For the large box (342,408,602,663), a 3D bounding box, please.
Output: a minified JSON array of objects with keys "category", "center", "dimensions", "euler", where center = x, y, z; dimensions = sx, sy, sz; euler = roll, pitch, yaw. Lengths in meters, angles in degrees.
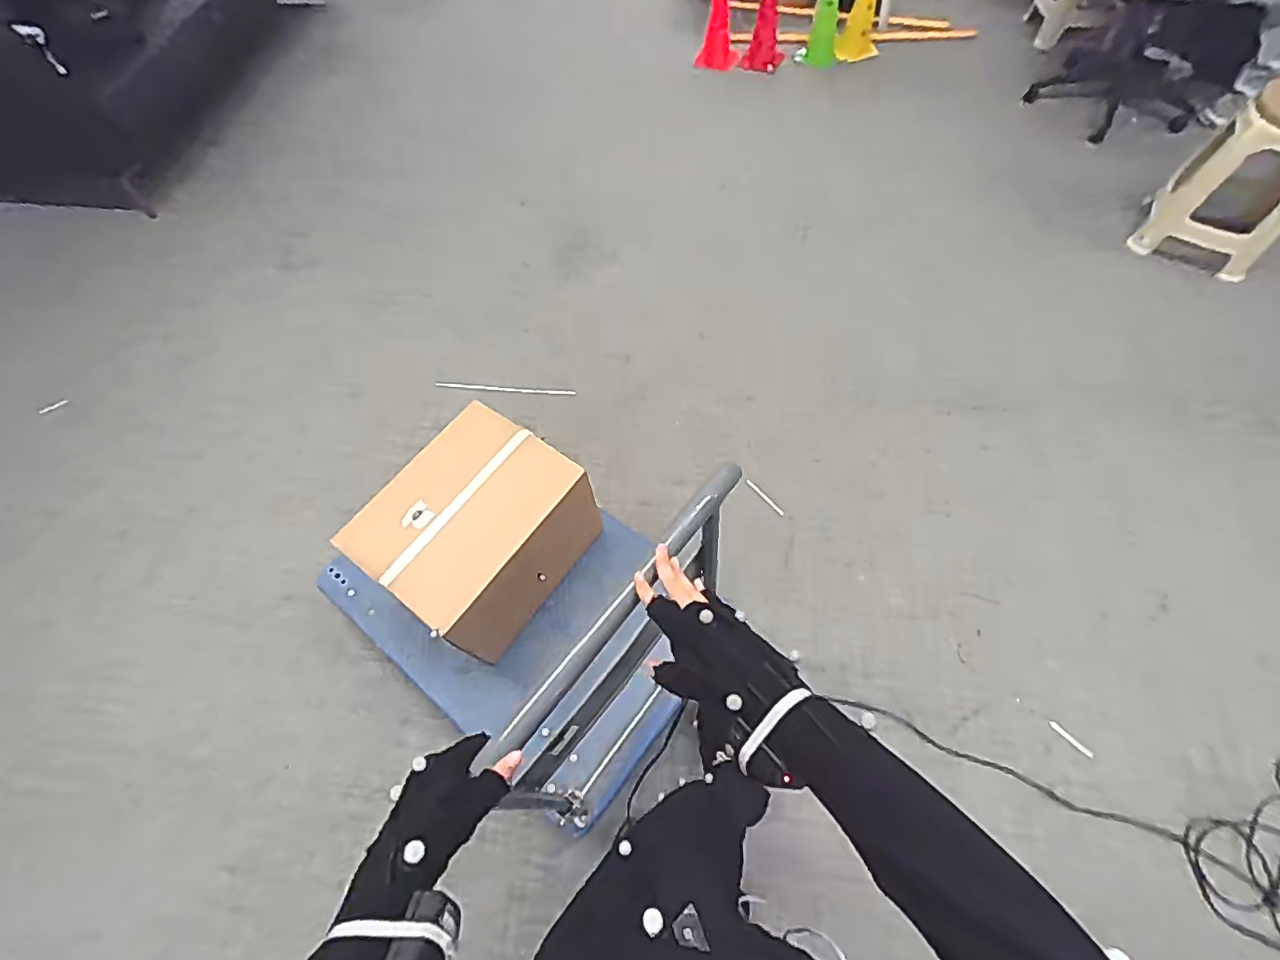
[{"category":"large box","center":[-0.333,0.129,1.195],"dimensions":[0.320,0.320,0.408],"euler":[31,69,19]}]
